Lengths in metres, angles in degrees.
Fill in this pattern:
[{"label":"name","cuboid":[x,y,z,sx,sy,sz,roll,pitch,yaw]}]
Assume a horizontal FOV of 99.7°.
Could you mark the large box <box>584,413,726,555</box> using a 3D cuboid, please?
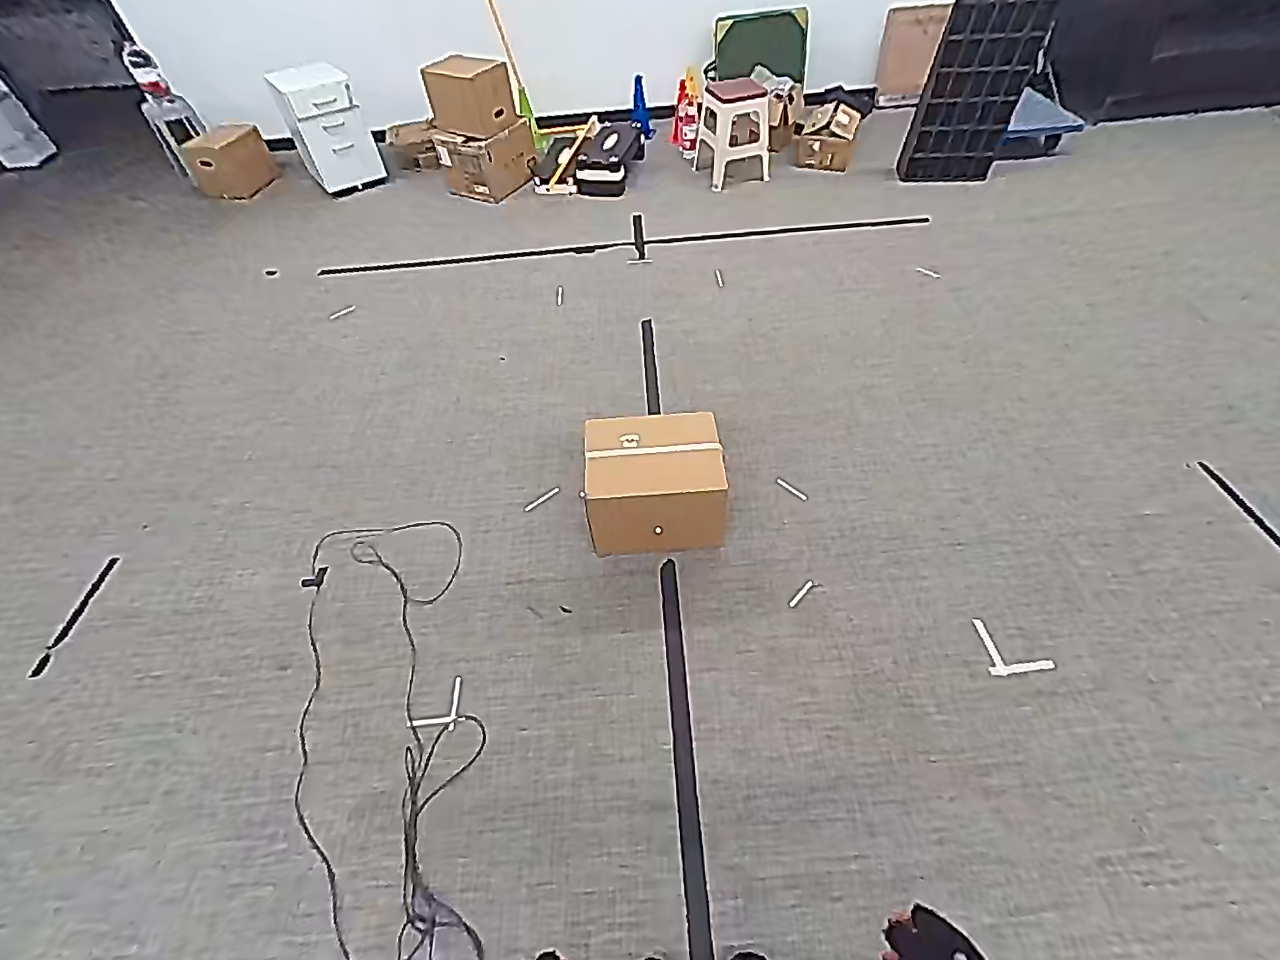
[{"label":"large box","cuboid":[0.044,0.020,1.715,0.408,0.320,0.320,-5,51,1]}]
